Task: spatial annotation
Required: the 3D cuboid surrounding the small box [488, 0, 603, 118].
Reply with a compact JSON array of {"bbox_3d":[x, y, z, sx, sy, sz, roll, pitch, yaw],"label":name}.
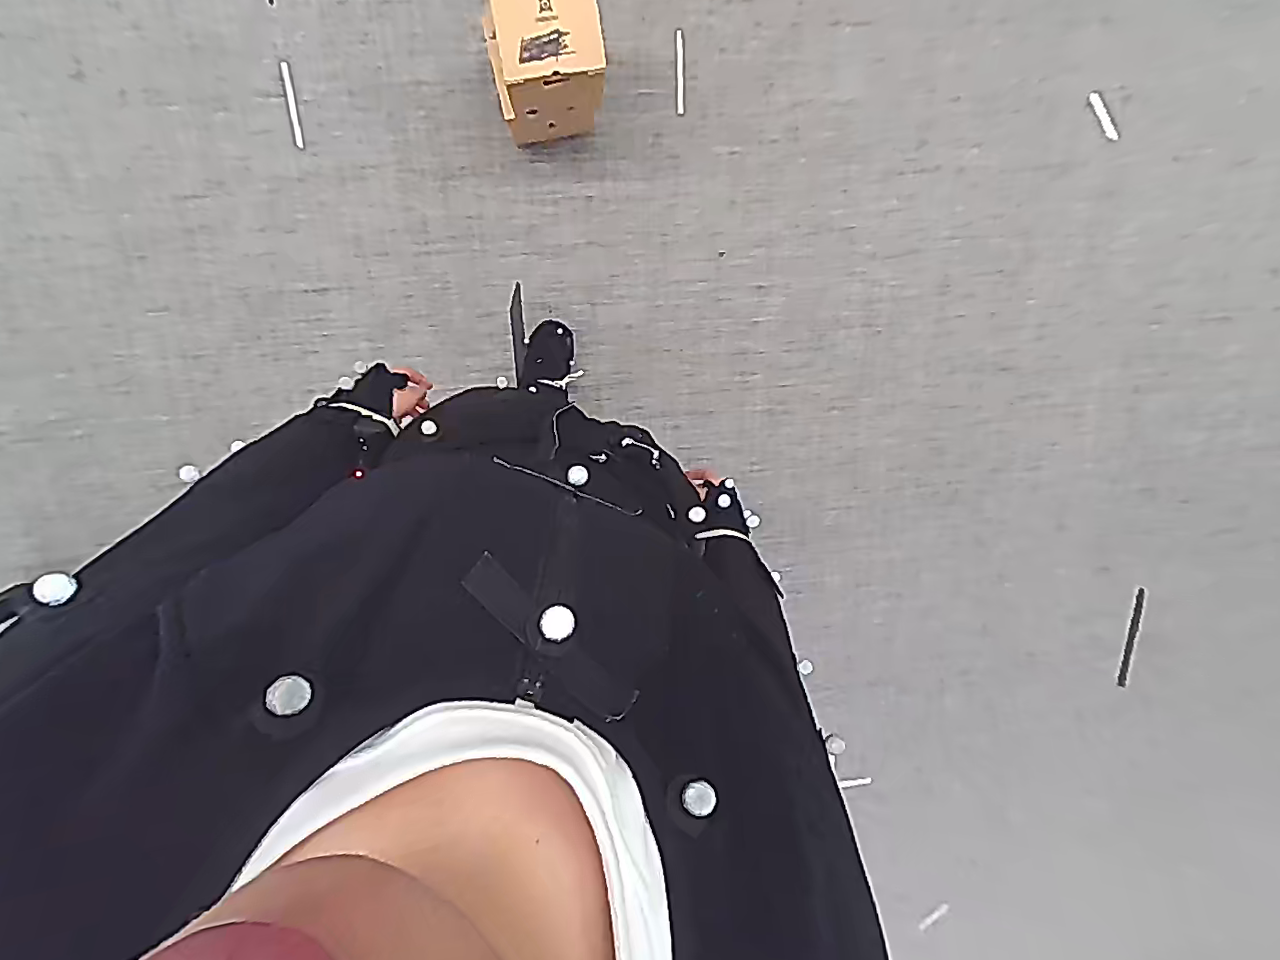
[{"bbox_3d":[-0.156,-0.737,0.912,0.168,0.176,0.179,-10,107,-4],"label":"small box"}]
